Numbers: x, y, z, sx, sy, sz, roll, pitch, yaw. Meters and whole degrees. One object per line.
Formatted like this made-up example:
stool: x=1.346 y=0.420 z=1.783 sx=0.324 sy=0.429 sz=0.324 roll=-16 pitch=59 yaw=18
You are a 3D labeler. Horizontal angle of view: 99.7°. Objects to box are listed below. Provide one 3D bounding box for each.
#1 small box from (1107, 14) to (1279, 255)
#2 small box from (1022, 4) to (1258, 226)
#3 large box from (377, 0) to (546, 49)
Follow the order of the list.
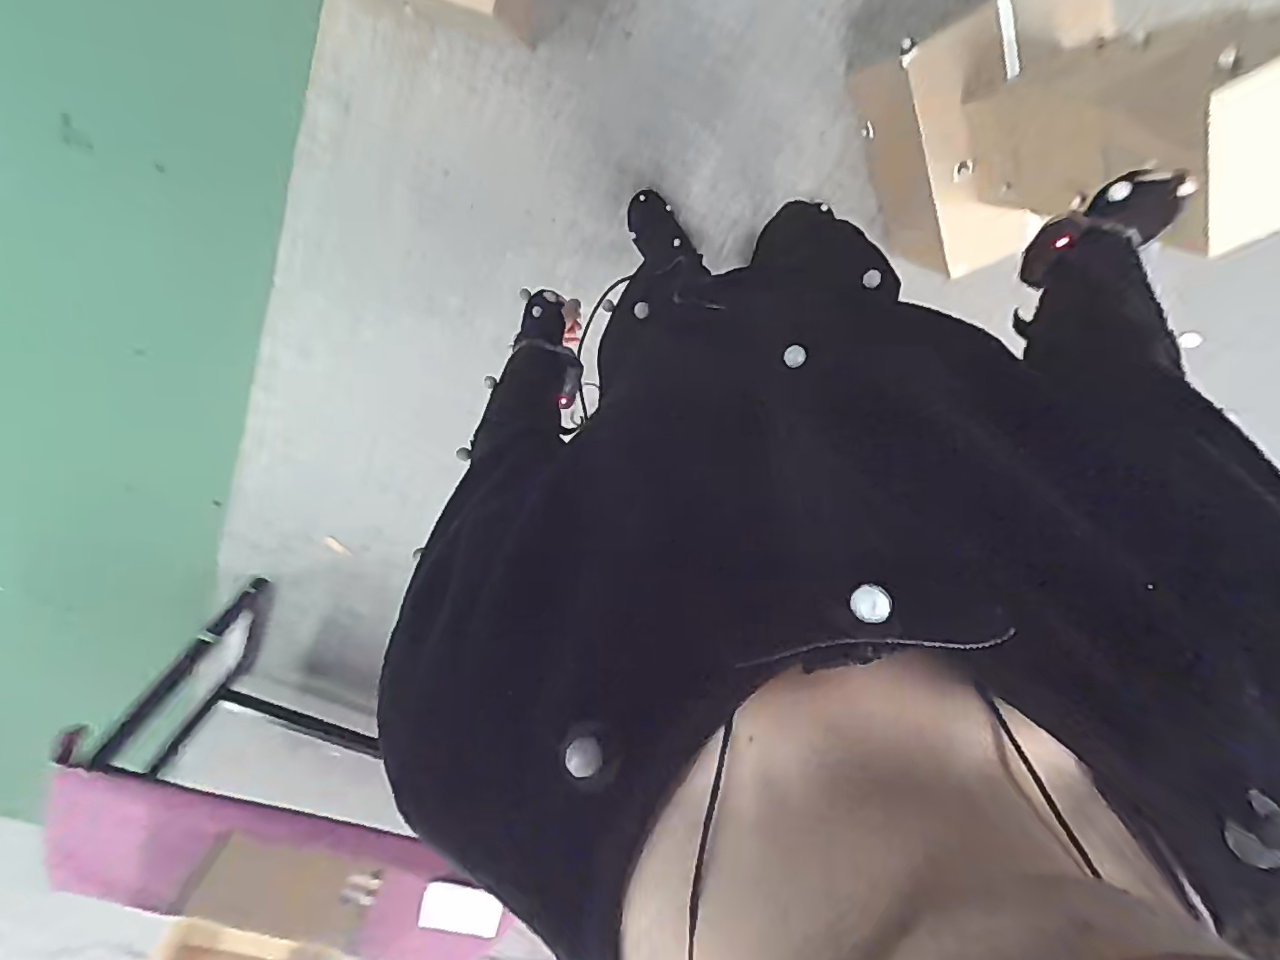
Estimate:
small box: x=0.650 y=-0.374 z=0.584 sx=0.179 sy=0.176 sz=0.168 roll=-24 pitch=119 yaw=16
small box: x=0.648 y=-0.468 z=0.720 sx=0.168 sy=0.176 sz=0.179 roll=-24 pitch=118 yaw=16
large box: x=-0.369 y=-0.995 z=0.911 sx=0.408 sy=0.320 sz=0.320 roll=14 pitch=118 yaw=-5
